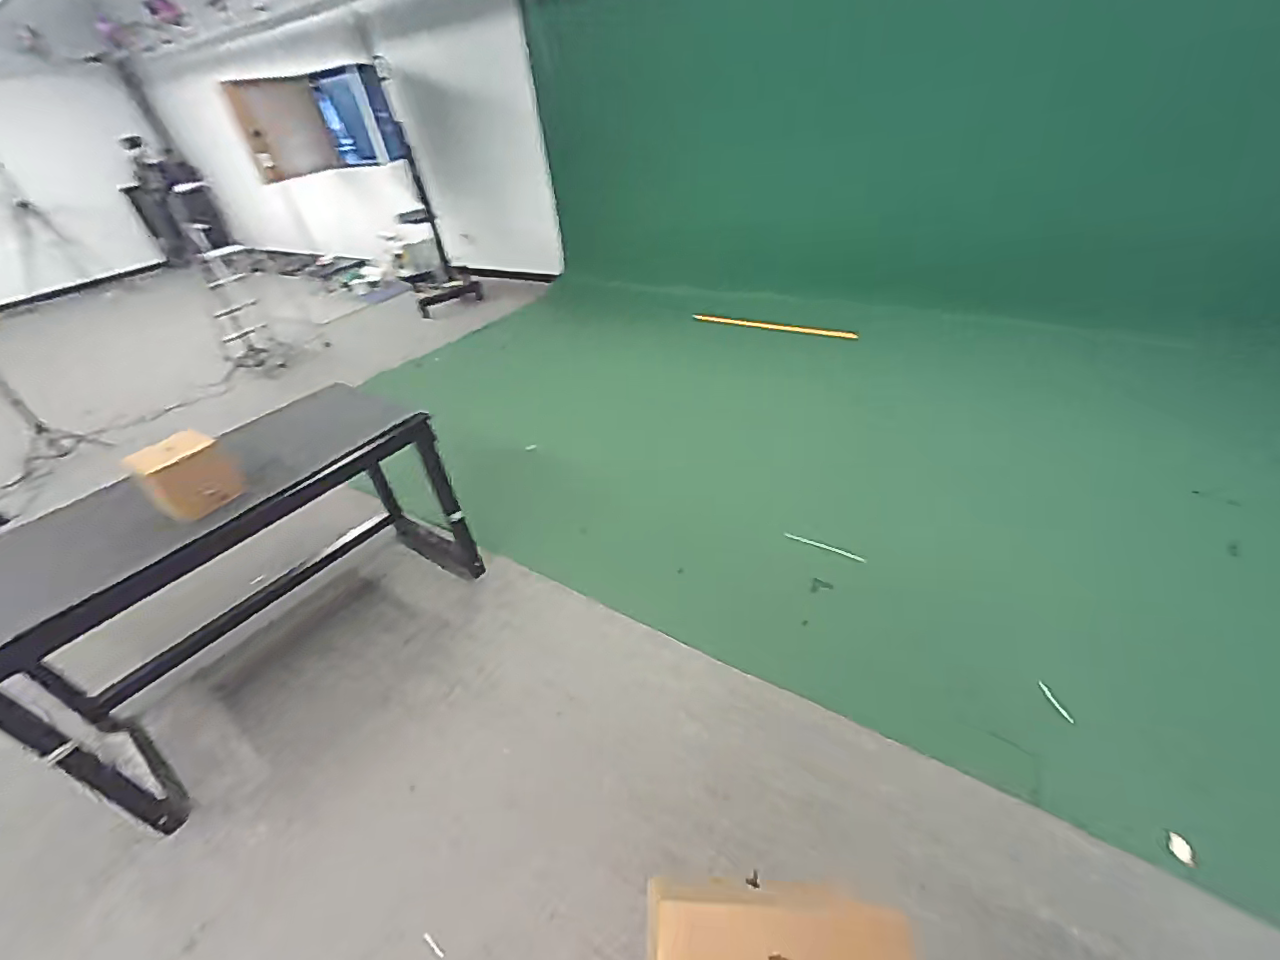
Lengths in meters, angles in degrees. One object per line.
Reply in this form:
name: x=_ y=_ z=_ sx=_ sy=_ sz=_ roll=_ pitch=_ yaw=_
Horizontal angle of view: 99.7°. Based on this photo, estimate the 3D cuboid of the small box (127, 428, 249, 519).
small box: x=-1.217 y=-0.017 z=1.465 sx=0.179 sy=0.176 sz=0.168 roll=16 pitch=42 yaw=30
